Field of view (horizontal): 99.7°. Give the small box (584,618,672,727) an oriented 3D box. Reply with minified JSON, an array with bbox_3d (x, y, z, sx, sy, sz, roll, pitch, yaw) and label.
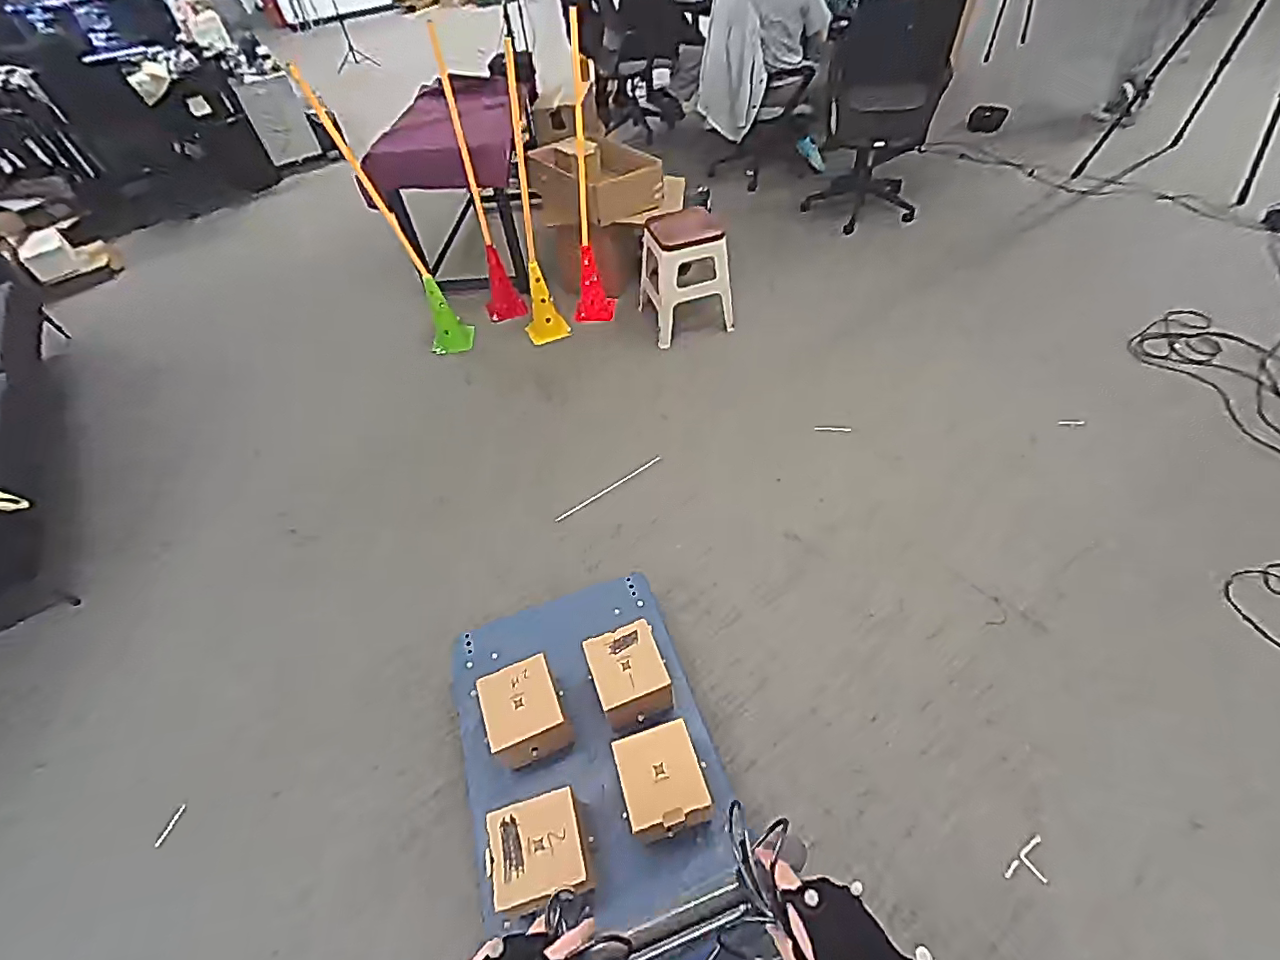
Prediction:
[{"bbox_3d":[-0.028,0.474,1.327,0.168,0.176,0.179,-19,53,-9],"label":"small box"}]

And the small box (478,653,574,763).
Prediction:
[{"bbox_3d":[-0.268,0.551,1.289,0.168,0.176,0.179,-20,51,-11],"label":"small box"}]

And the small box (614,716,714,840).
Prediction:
[{"bbox_3d":[0.050,0.649,1.175,0.168,0.176,0.179,-17,51,-7],"label":"small box"}]
